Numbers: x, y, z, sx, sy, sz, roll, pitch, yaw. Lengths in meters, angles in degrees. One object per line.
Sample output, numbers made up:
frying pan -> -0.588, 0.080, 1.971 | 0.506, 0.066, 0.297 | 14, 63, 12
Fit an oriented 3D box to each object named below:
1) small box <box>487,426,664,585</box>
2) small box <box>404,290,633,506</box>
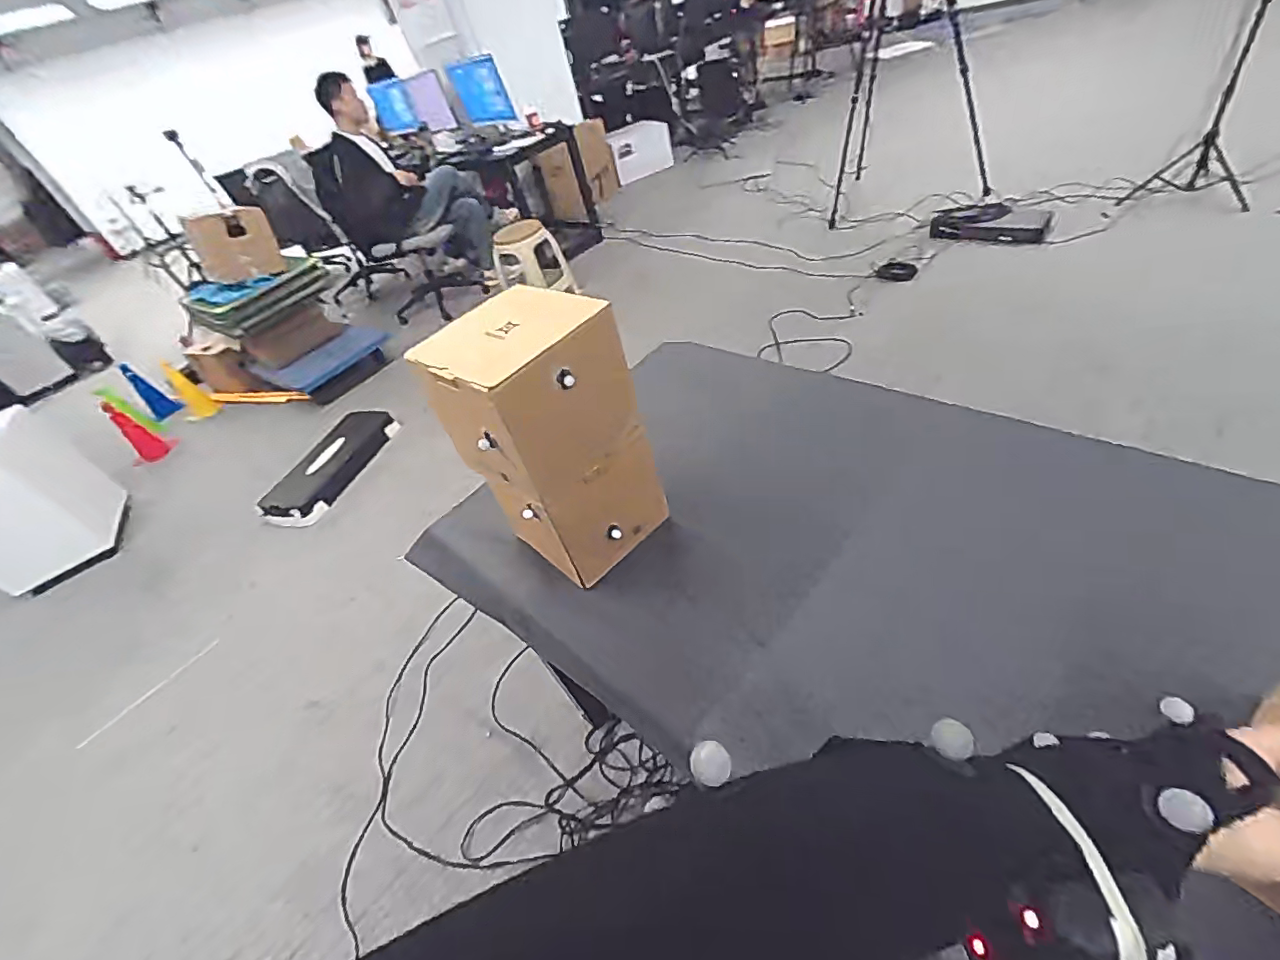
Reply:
small box -> -0.092, 0.013, 0.748 | 0.168, 0.176, 0.179 | -40, 46, -24
small box -> -0.129, -0.098, 0.636 | 0.168, 0.176, 0.179 | 24, 54, 35
